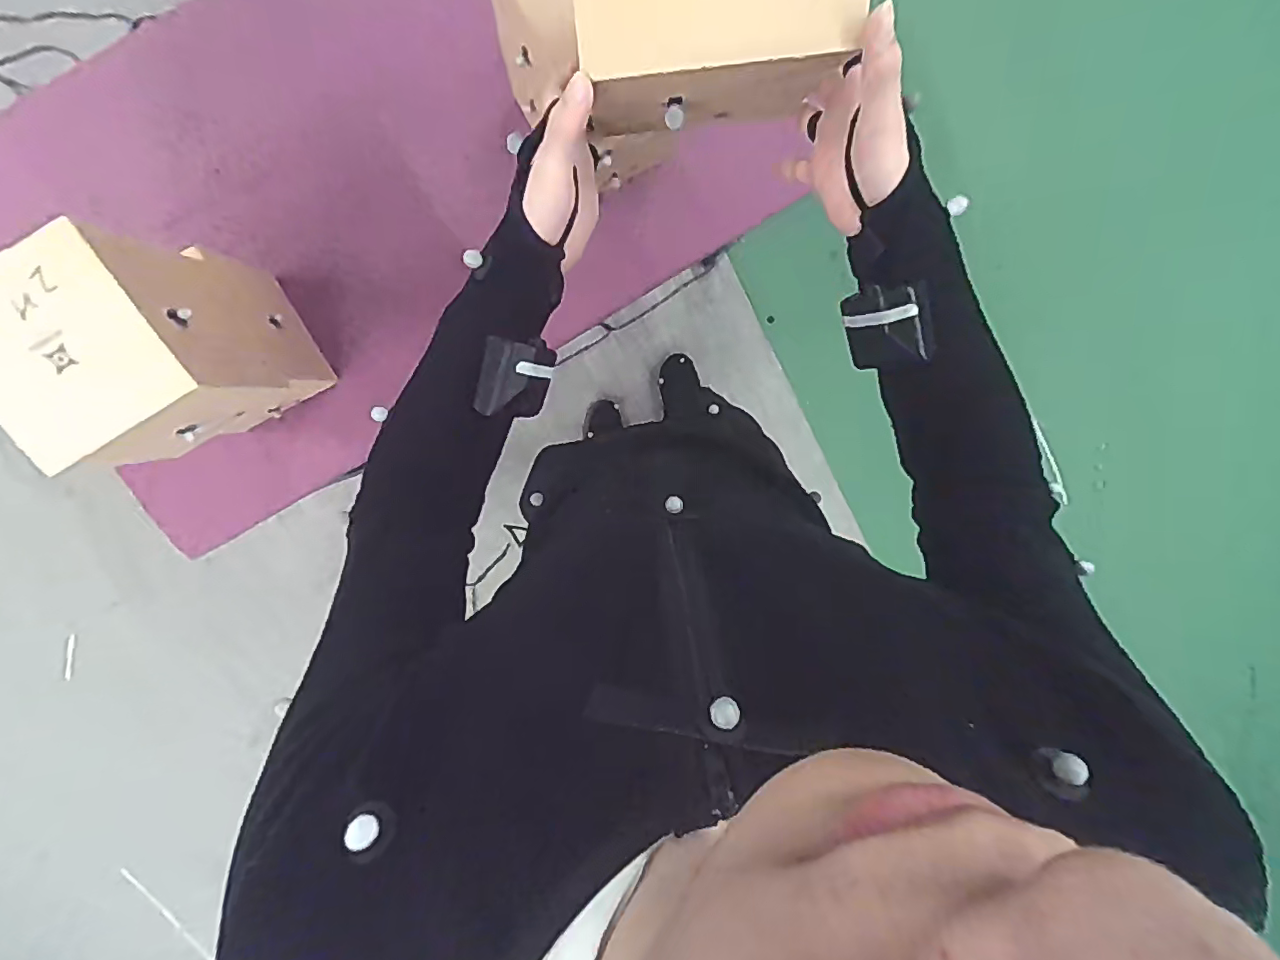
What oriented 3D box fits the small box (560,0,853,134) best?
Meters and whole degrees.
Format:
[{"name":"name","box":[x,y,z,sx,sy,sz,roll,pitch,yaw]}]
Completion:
[{"name":"small box","box":[0.033,-0.345,0.355,0.168,0.176,0.179,-5,112,1]}]

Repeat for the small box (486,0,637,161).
[{"name":"small box","box":[-0.048,-0.469,0.561,0.168,0.176,0.179,-31,99,1]}]

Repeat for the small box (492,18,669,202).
[{"name":"small box","box":[-0.070,-0.512,0.719,0.168,0.176,0.179,-29,100,1]}]

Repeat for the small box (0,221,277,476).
[{"name":"small box","box":[-0.536,-0.129,0.565,0.168,0.176,0.179,-32,101,-1]}]
